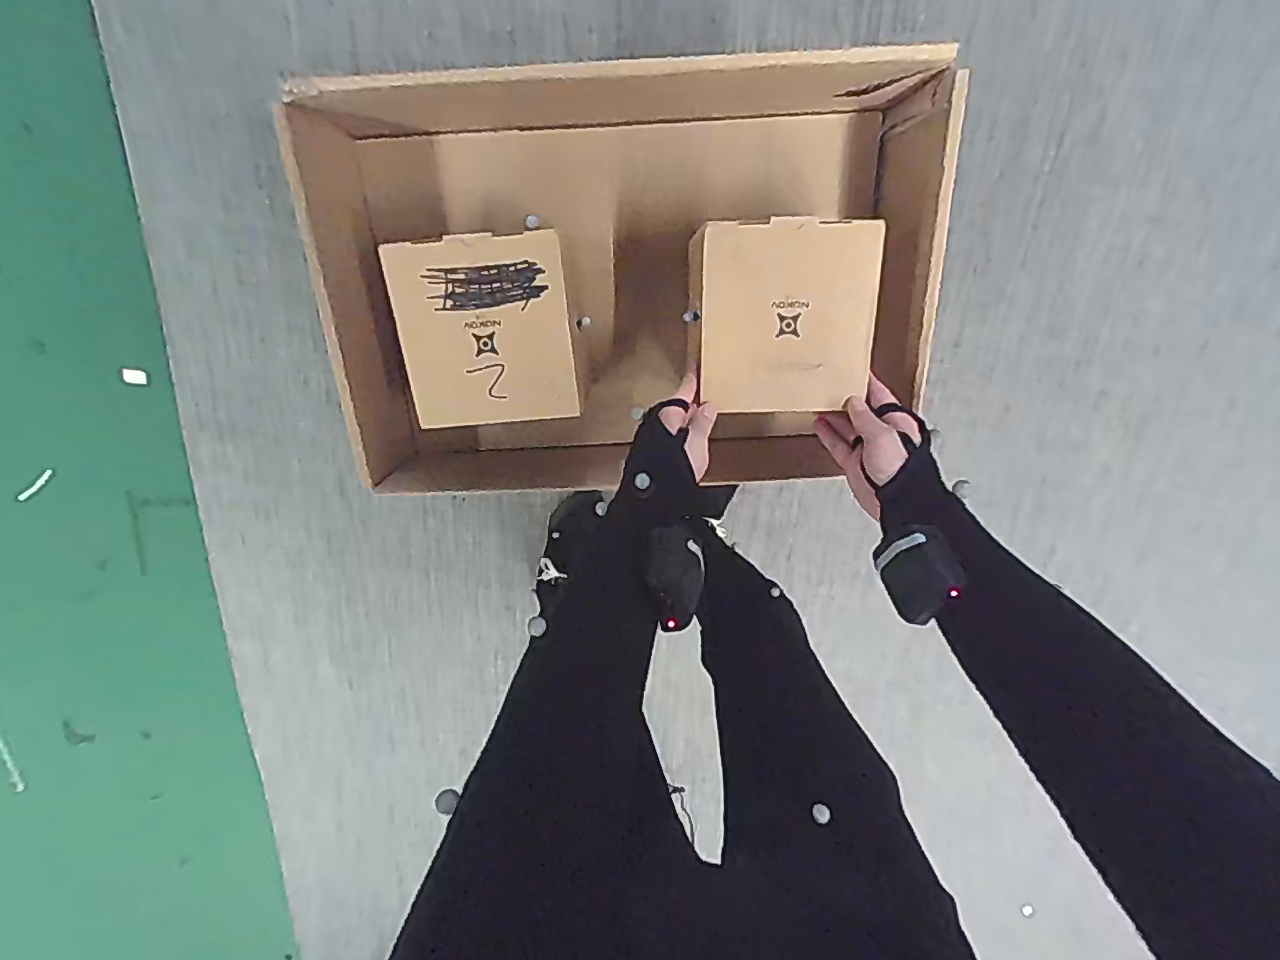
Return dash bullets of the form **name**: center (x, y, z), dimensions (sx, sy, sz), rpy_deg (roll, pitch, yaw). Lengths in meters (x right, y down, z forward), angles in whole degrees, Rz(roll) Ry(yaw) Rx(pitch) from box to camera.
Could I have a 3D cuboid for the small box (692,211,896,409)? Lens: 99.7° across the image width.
- **small box**: center (0.145, -0.175, 0.576), dimensions (0.168, 0.176, 0.179), rpy_deg (0, 107, 0)
